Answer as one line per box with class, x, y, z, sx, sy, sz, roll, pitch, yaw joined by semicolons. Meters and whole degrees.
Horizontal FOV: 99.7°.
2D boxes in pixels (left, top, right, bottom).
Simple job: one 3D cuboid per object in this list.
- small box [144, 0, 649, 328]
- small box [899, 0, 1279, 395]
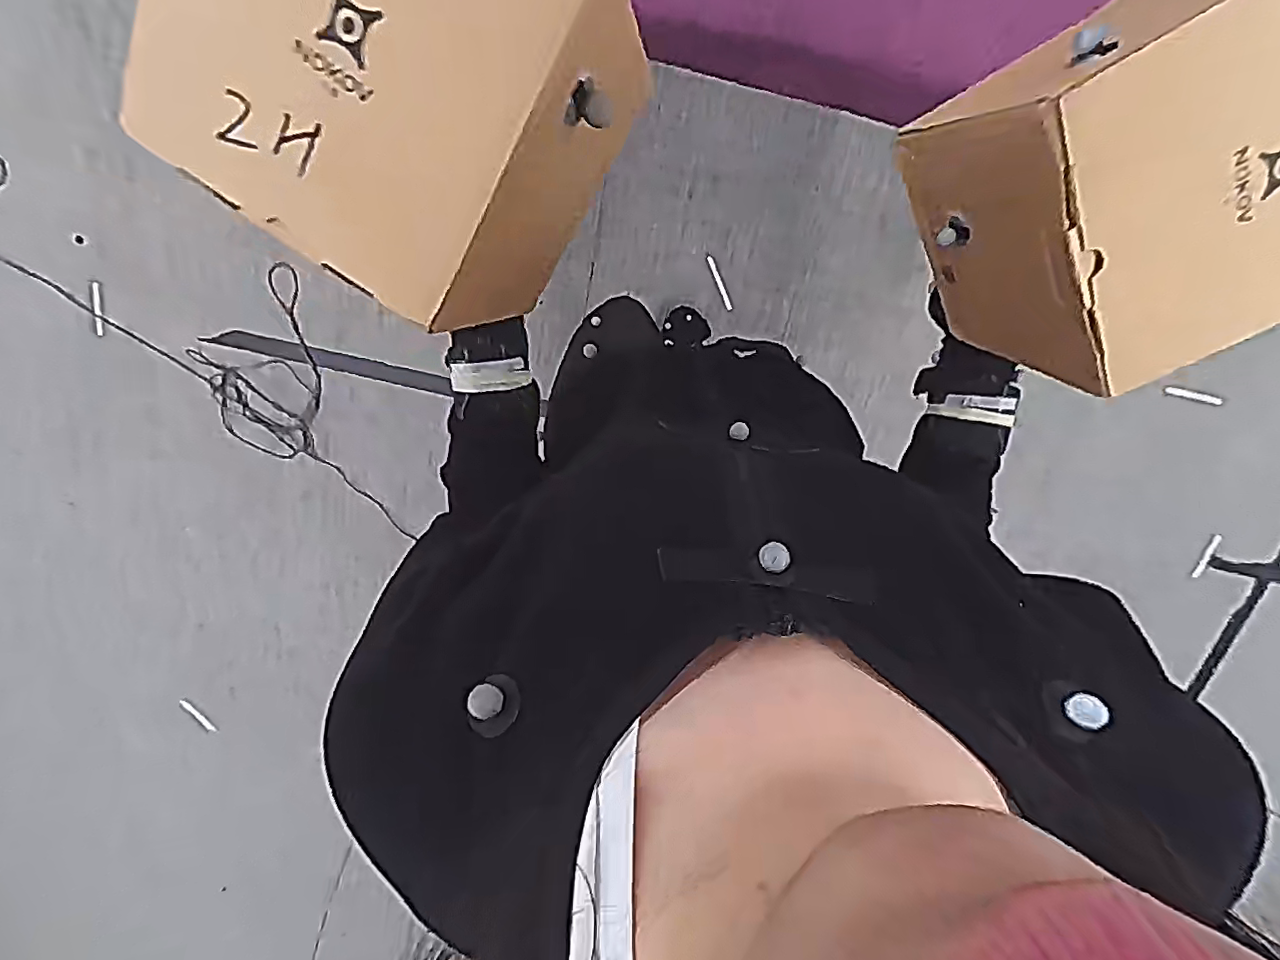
small box;-0.107;-0.212;0.304;0.168;0.176;0.179;34;111;-6
small box;0.298;-0.185;0.332;0.179;0.176;0.168;-28;115;13
